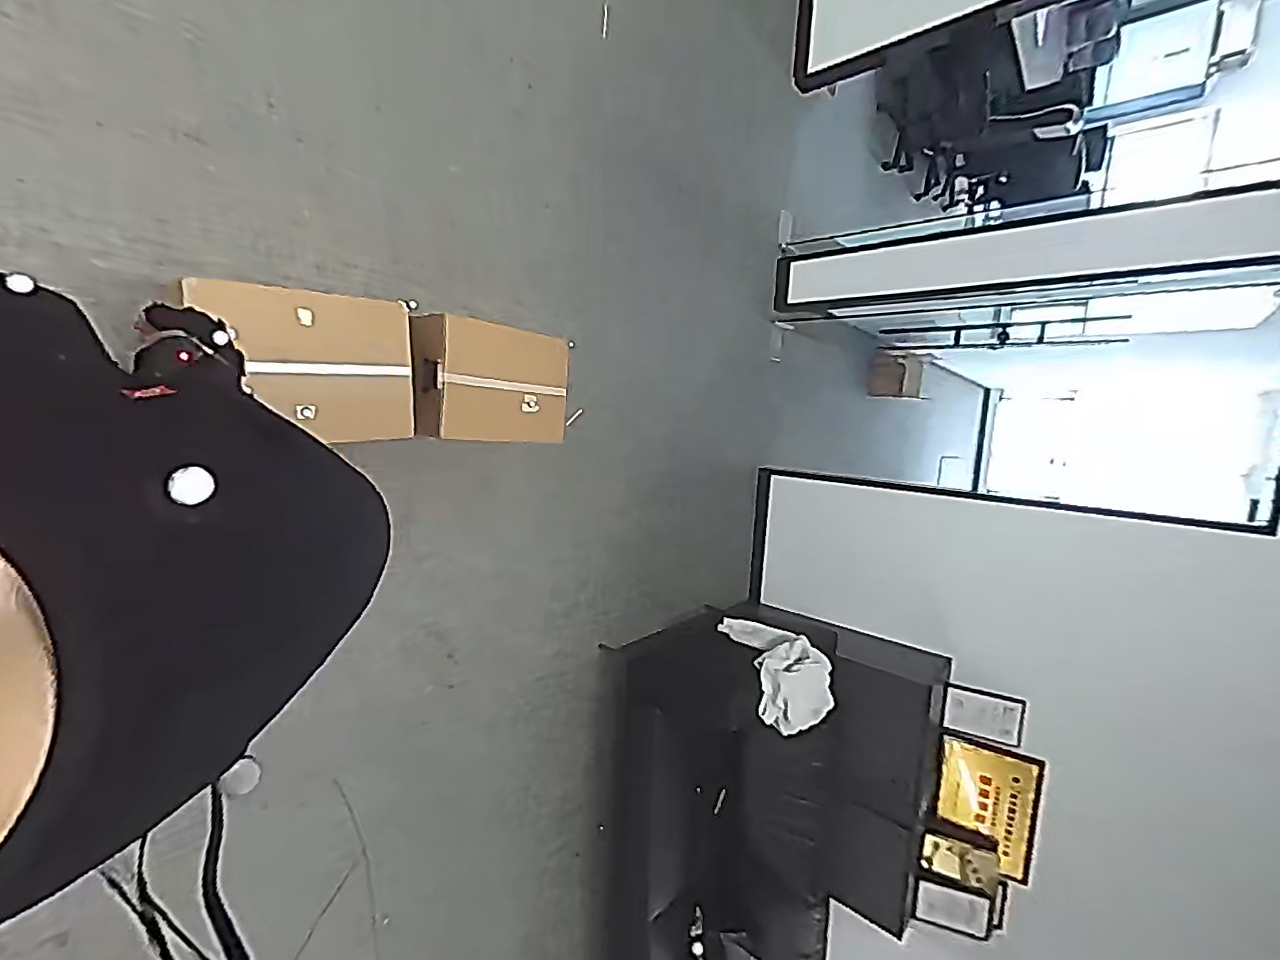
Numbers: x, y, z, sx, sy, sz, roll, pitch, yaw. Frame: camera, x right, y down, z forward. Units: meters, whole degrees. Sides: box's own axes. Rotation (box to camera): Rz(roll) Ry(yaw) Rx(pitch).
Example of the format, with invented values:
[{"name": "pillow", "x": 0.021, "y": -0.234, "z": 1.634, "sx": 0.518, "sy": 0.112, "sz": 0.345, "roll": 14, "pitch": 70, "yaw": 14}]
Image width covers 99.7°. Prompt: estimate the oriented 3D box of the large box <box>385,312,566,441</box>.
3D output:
[{"name": "large box", "x": -0.471, "y": -0.281, "z": 1.558, "sx": 0.408, "sy": 0.320, "sz": 0.320, "roll": -2, "pitch": 100, "yaw": -50}]
